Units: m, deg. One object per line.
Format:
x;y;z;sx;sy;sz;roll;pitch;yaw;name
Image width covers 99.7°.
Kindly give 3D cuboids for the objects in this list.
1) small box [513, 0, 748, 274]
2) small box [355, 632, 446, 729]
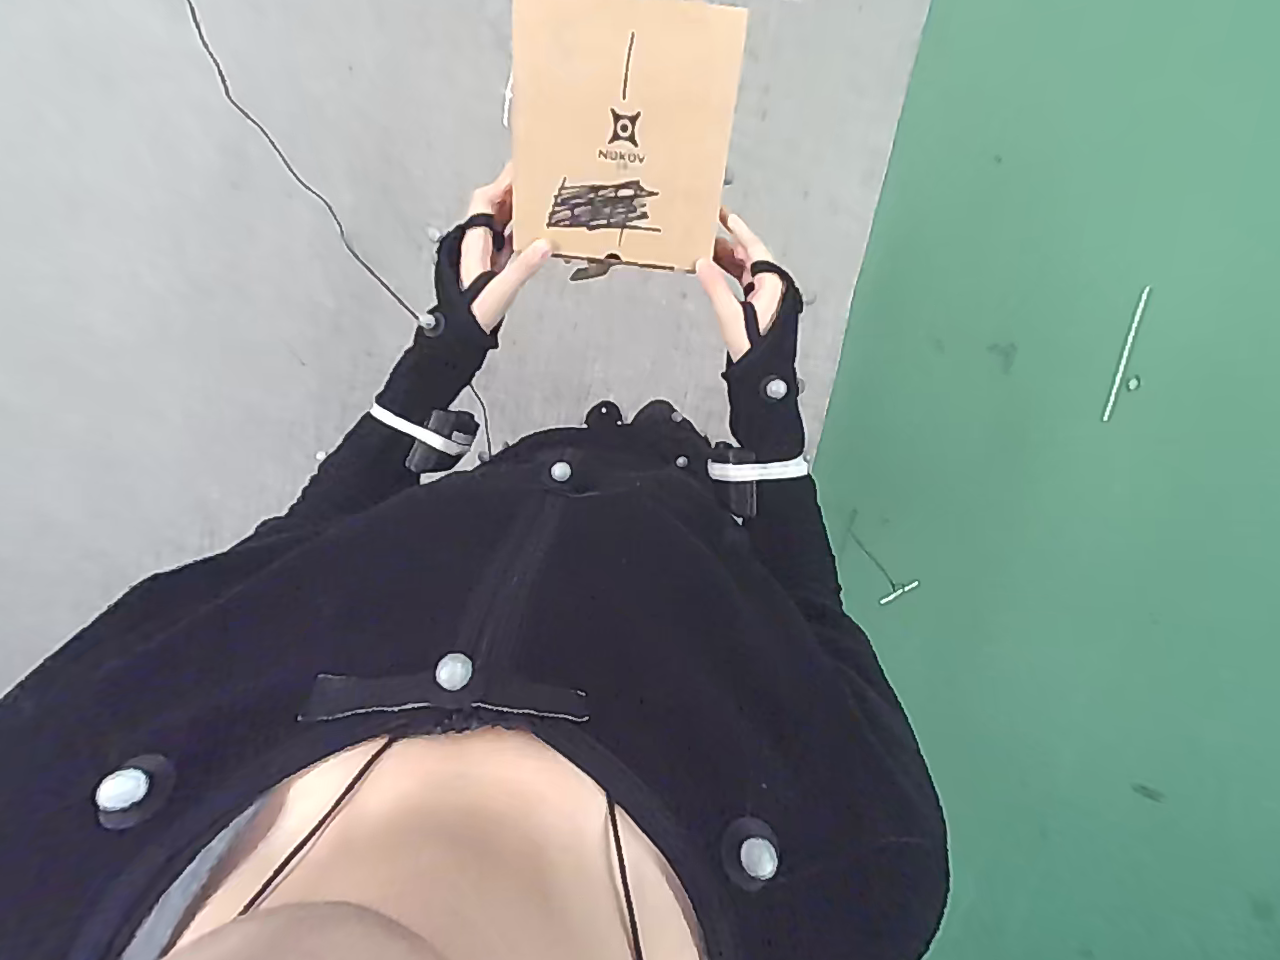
-0.015;-0.292;0.483;0.168;0.176;0.179;5;115;-5;small box
-0.649;0.543;1.483;0.168;0.176;0.179;13;96;-3;small box
